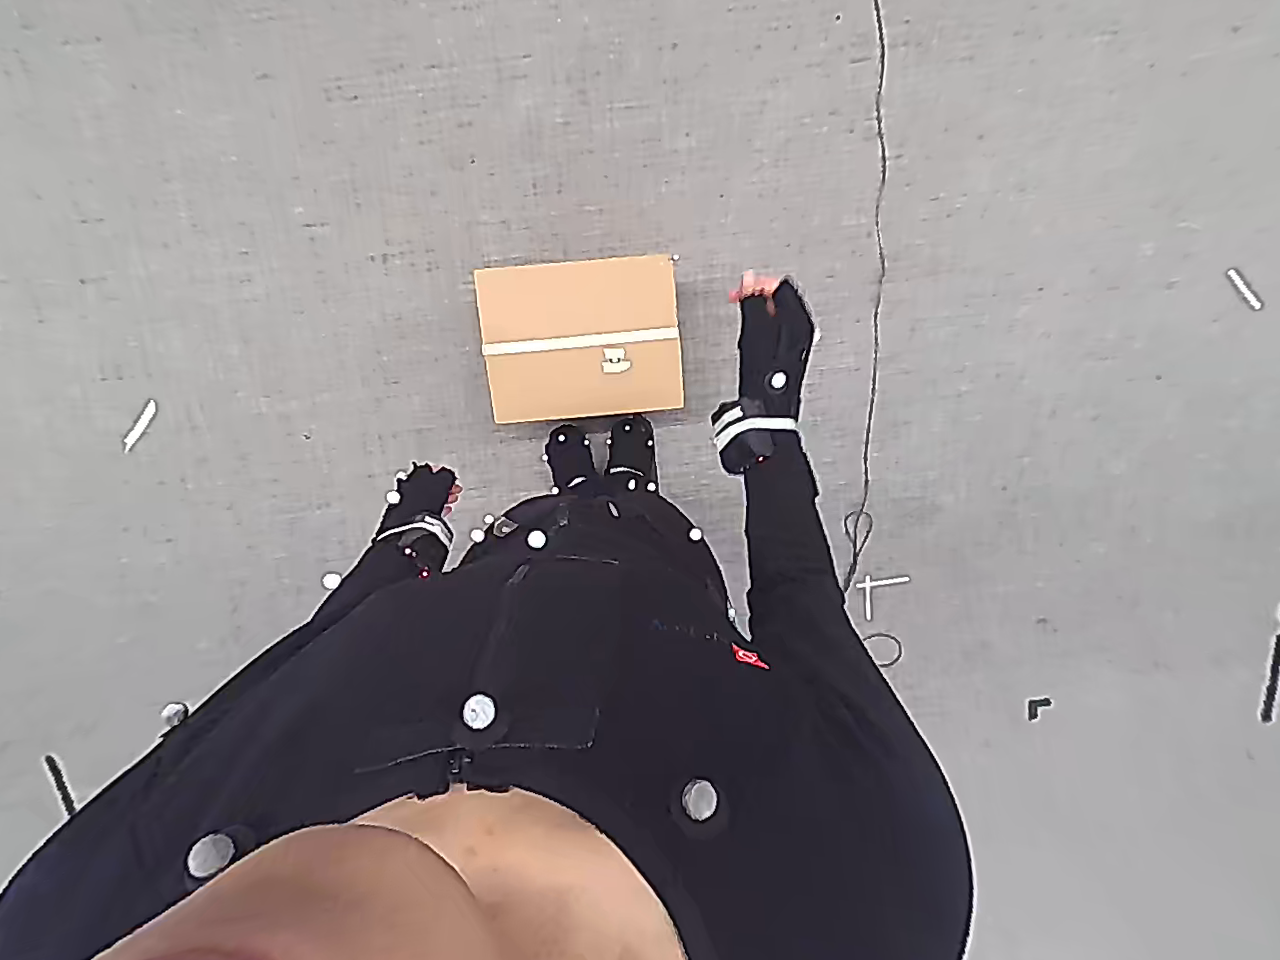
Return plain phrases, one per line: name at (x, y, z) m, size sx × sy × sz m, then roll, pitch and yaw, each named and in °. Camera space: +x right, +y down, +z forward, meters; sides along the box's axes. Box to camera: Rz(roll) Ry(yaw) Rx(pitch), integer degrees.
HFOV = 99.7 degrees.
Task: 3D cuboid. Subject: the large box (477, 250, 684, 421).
large box at (-0.126, -0.325, 1.270) m, size 0.408 × 0.320 × 0.320 m, roll -6°, pitch 102°, yaw -1°
